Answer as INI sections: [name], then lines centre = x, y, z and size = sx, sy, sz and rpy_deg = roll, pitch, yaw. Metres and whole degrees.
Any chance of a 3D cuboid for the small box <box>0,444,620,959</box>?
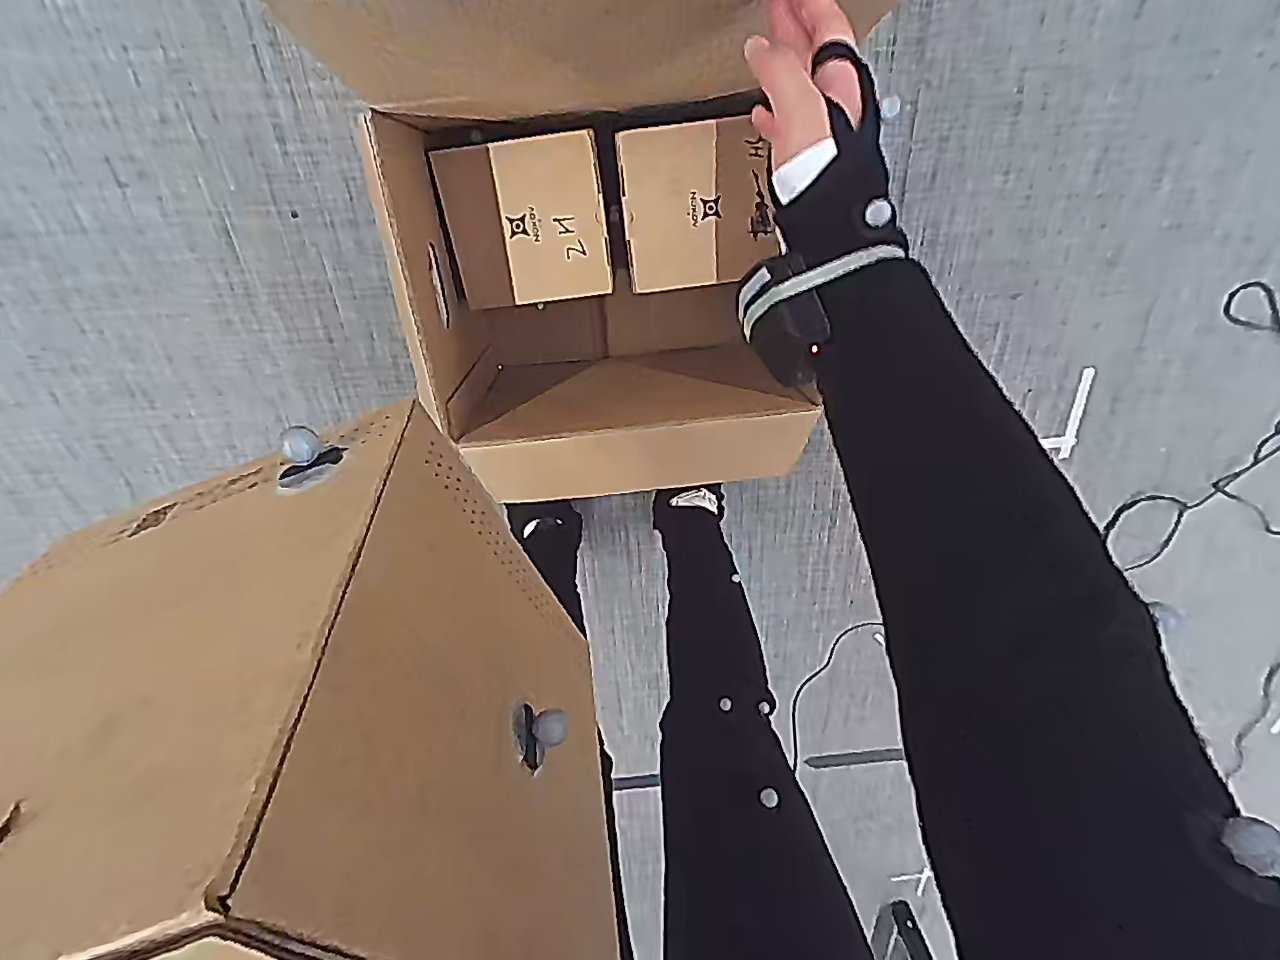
[small box]
centre = -0.121, 0.107, 0.206
size = 0.168, 0.176, 0.179
rpy_deg = -21, 127, 4
